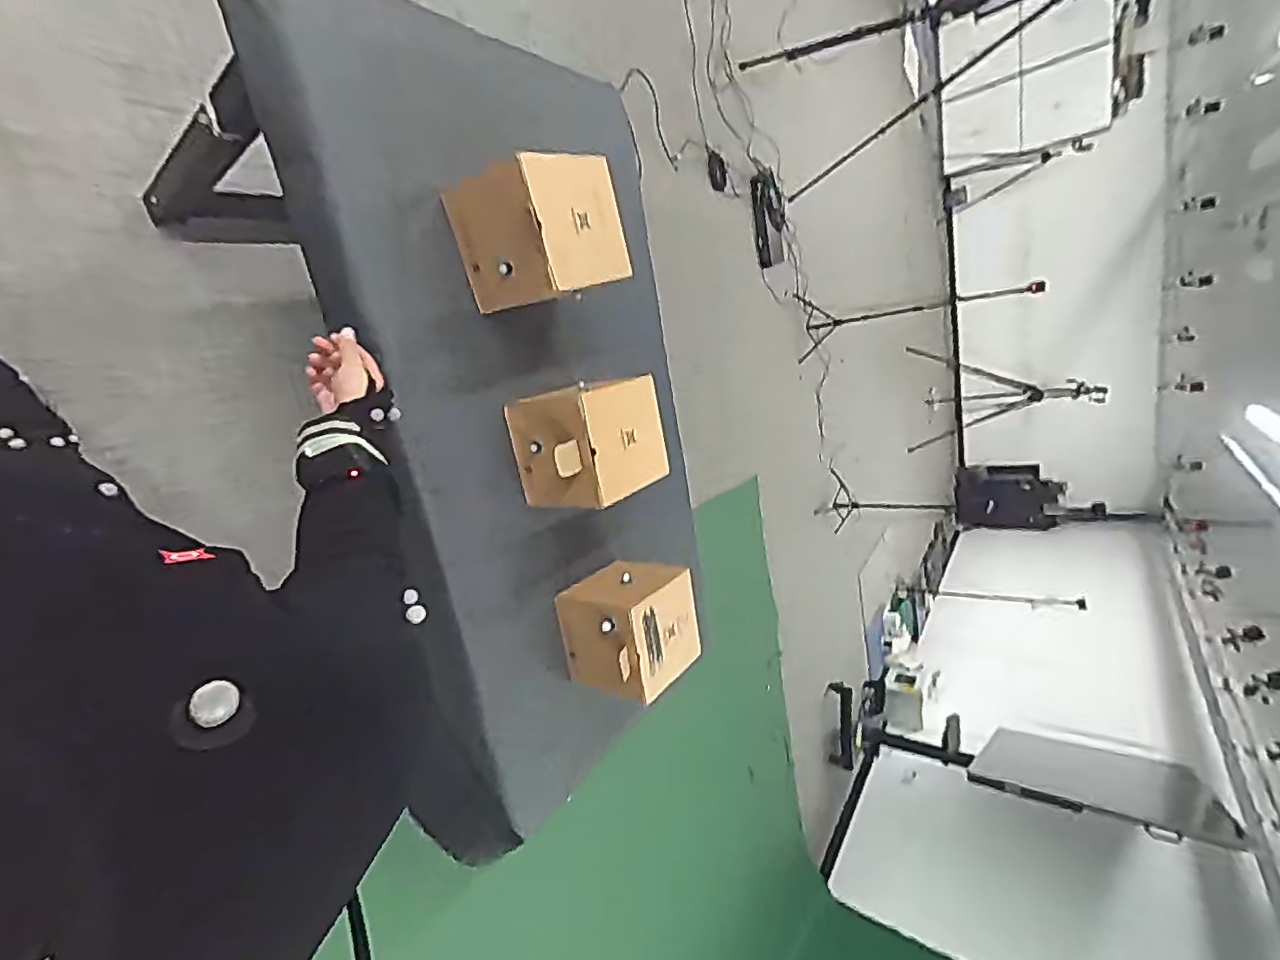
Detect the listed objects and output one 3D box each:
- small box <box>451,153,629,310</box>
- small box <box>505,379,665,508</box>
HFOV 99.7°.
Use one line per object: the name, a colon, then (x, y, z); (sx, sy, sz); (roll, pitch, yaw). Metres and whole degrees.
small box: (-0.147, -0.354, 0.786); (0.179, 0.176, 0.168); (-37, 120, -47)
small box: (-0.085, -0.063, 0.869); (0.179, 0.176, 0.168); (-27, 112, -49)
